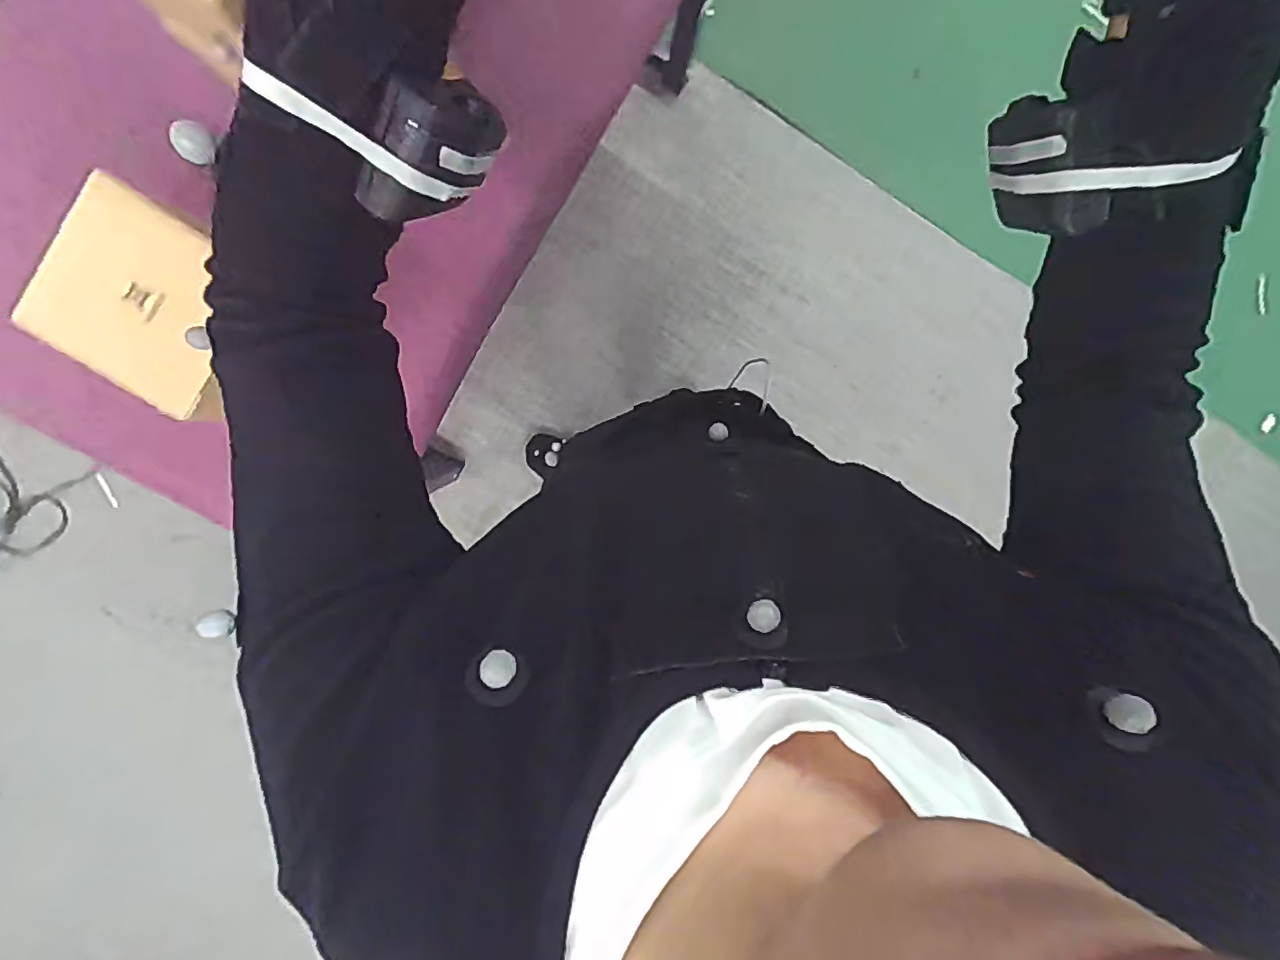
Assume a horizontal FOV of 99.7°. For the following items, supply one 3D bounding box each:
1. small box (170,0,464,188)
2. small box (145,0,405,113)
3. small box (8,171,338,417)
[{"bbox_3d":[-0.314,-0.440,0.568,0.179,0.176,0.168,33,99,-7],"label":"small box"},{"bbox_3d":[-0.304,-0.421,0.402,0.179,0.176,0.168,33,94,-8],"label":"small box"},{"bbox_3d":[-0.480,-0.181,0.589,0.179,0.176,0.168,33,94,-9],"label":"small box"}]
